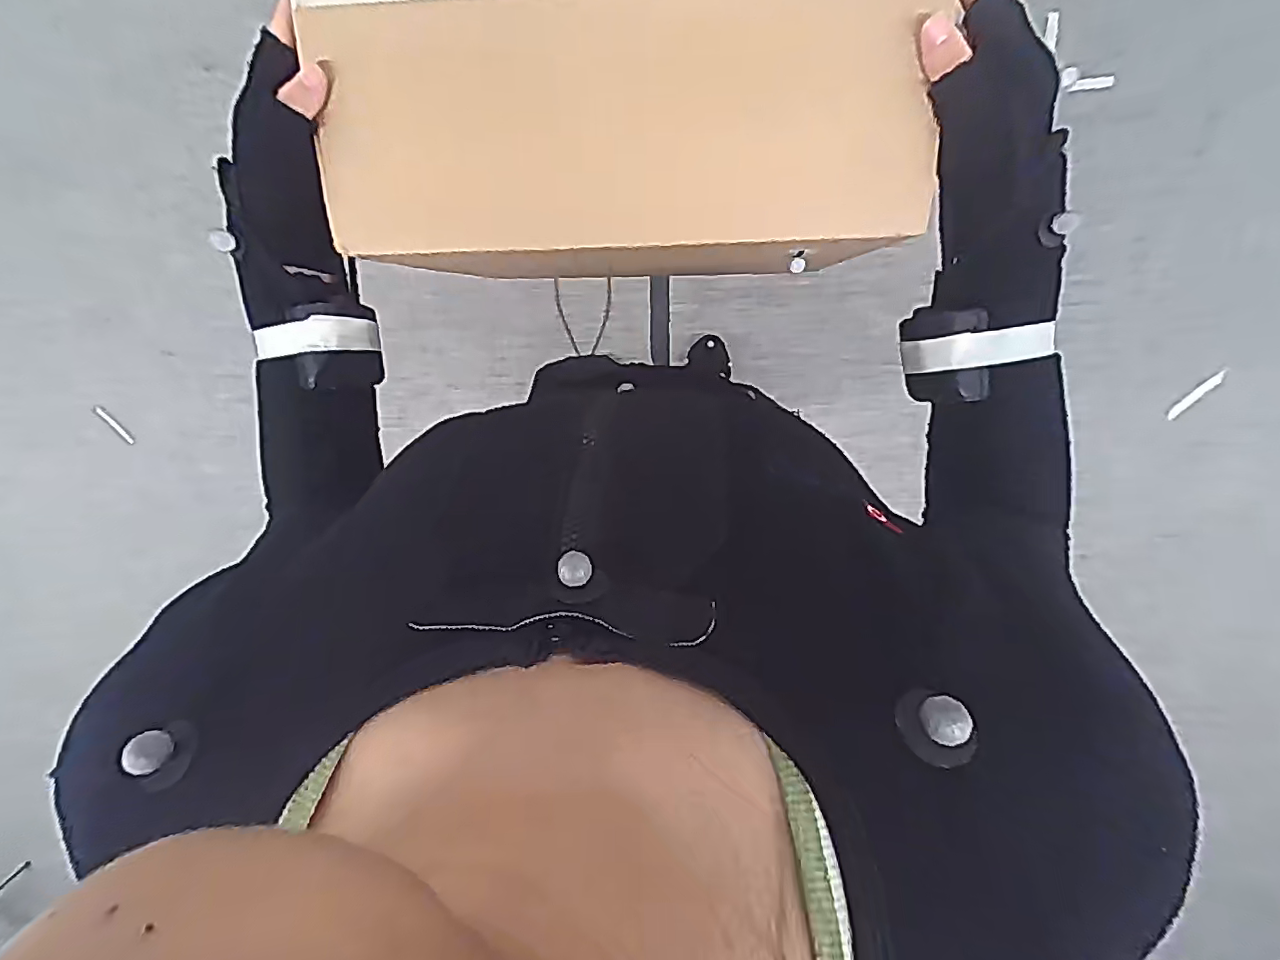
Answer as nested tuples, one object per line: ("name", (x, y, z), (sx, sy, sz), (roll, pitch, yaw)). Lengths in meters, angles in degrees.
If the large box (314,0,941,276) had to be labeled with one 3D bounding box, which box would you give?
("large box", (-0.001, -0.357, 0.476), (0.408, 0.320, 0.320), (0, 107, 6))
